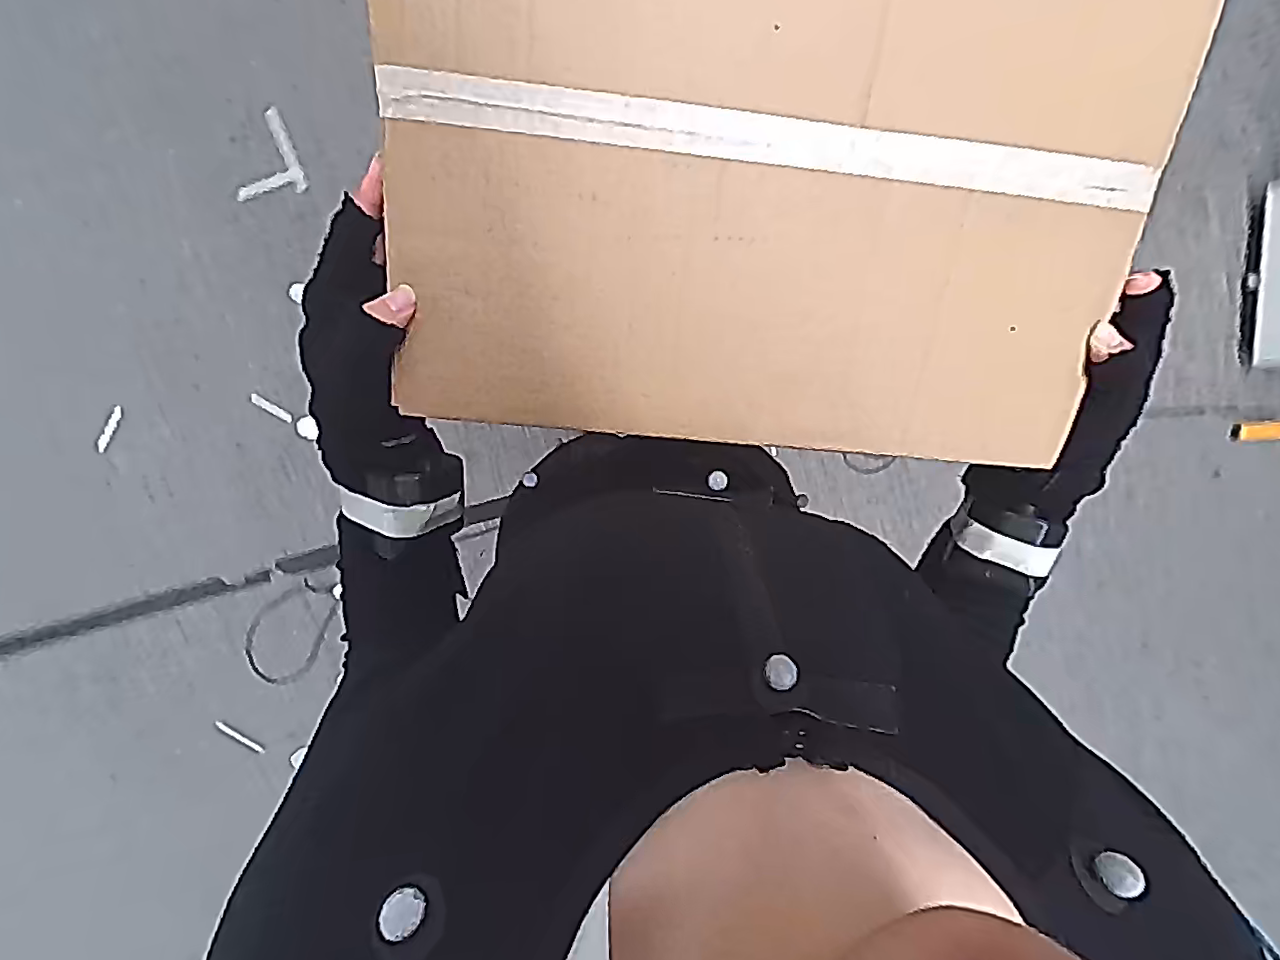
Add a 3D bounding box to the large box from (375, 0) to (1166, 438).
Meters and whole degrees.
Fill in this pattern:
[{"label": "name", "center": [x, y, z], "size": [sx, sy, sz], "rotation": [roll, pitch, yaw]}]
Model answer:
[{"label": "large box", "center": [0.055, -0.226, 0.429], "size": [0.408, 0.320, 0.320], "rotation": [3, 110, -5]}]
